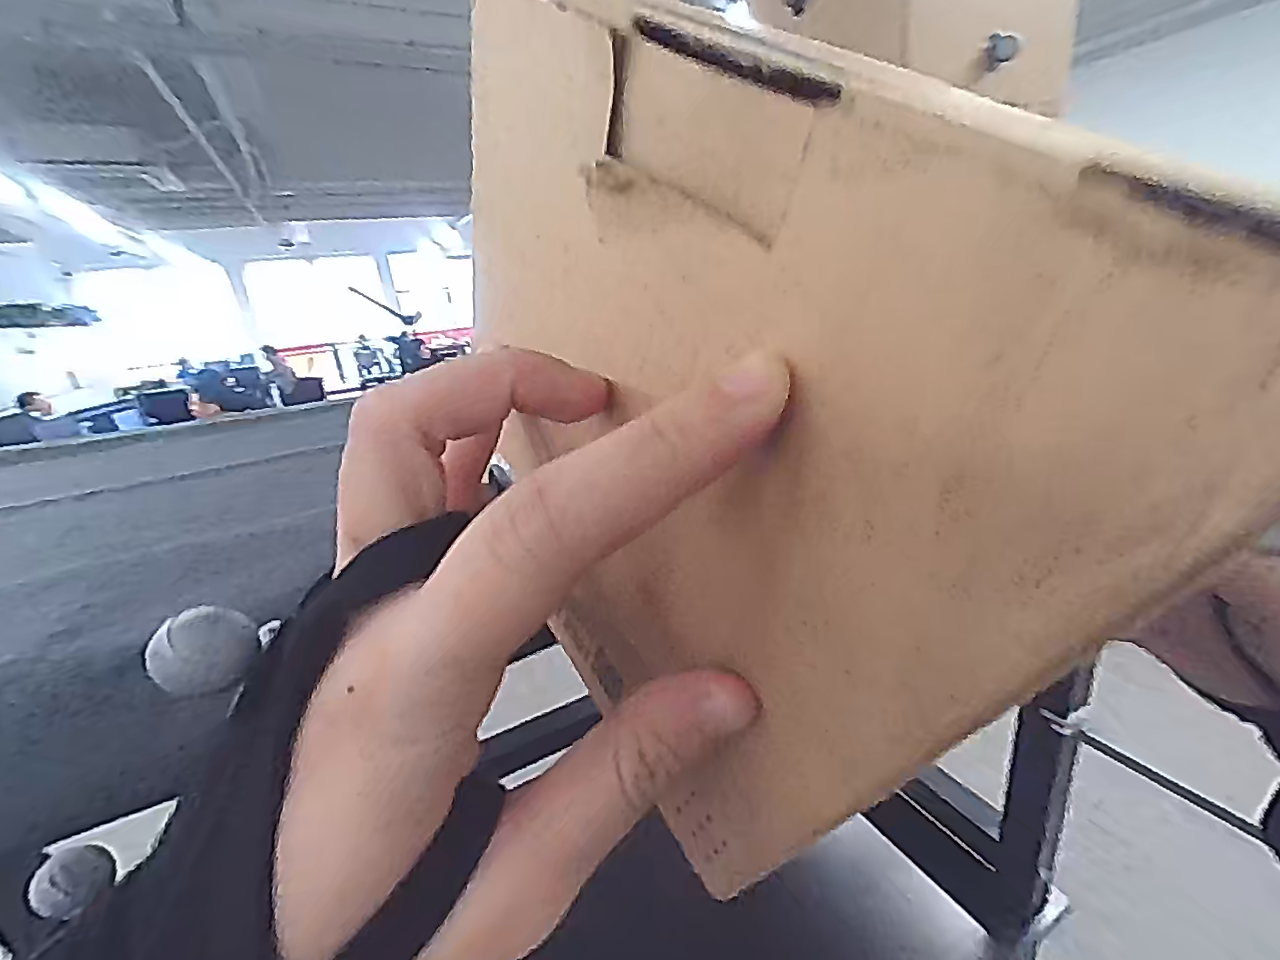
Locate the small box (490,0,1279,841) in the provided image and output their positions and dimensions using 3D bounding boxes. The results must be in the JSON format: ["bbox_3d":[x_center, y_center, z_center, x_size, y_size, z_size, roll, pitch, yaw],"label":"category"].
[{"bbox_3d":[0.064,-0.023,0.182,0.179,0.176,0.168,-19,53,-33],"label":"small box"}]
